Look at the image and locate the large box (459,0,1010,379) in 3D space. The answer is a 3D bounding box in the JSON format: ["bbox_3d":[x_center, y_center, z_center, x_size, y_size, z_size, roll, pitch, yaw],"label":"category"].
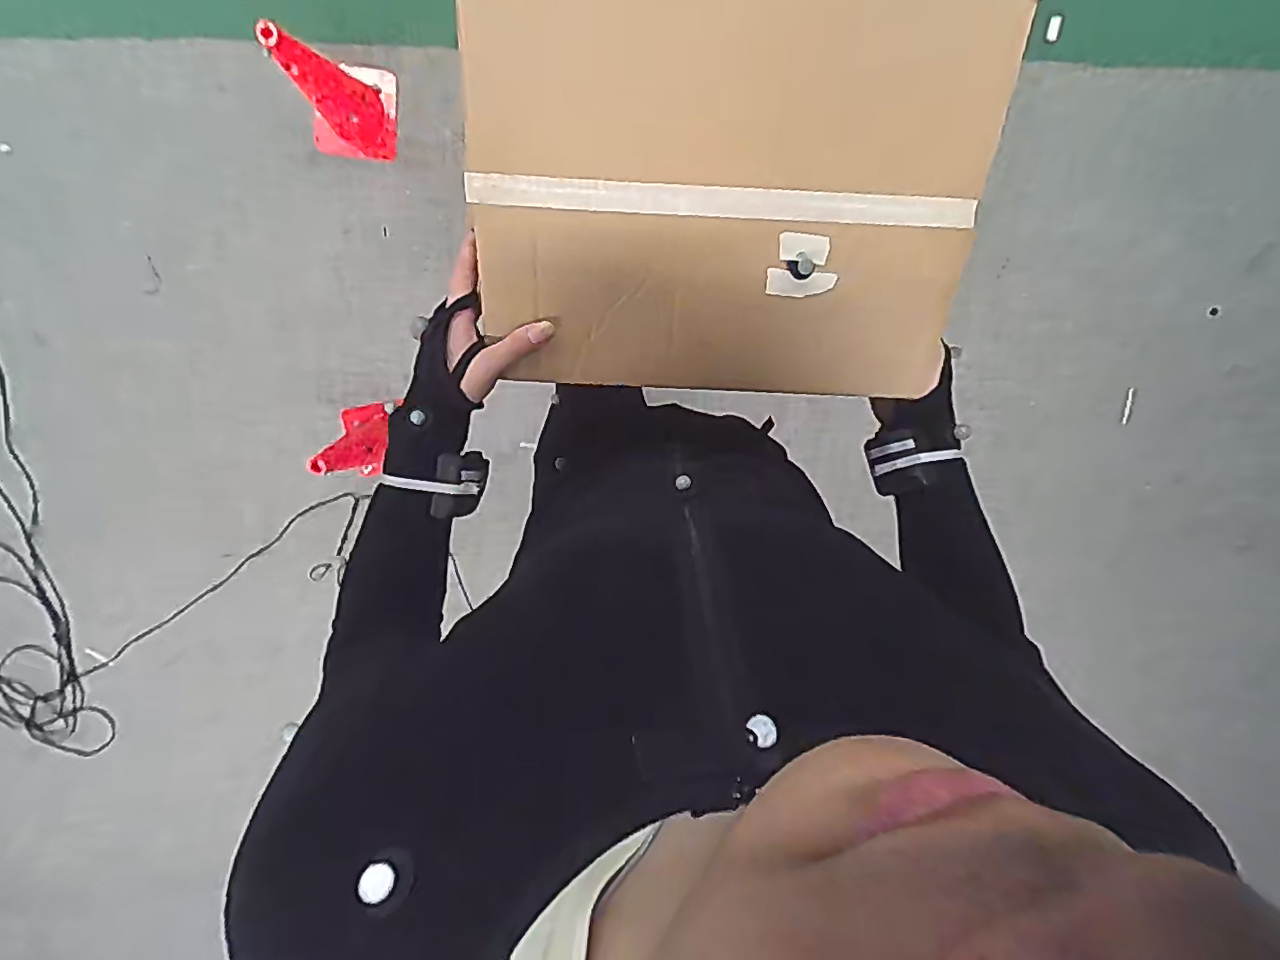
[{"bbox_3d":[0.060,-0.301,0.573,0.408,0.320,0.320,2,117,-3],"label":"large box"}]

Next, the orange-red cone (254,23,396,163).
[{"bbox_3d":[-0.711,-0.871,1.182,0.199,0.360,0.198,7,103,-3],"label":"orange-red cone"}]
